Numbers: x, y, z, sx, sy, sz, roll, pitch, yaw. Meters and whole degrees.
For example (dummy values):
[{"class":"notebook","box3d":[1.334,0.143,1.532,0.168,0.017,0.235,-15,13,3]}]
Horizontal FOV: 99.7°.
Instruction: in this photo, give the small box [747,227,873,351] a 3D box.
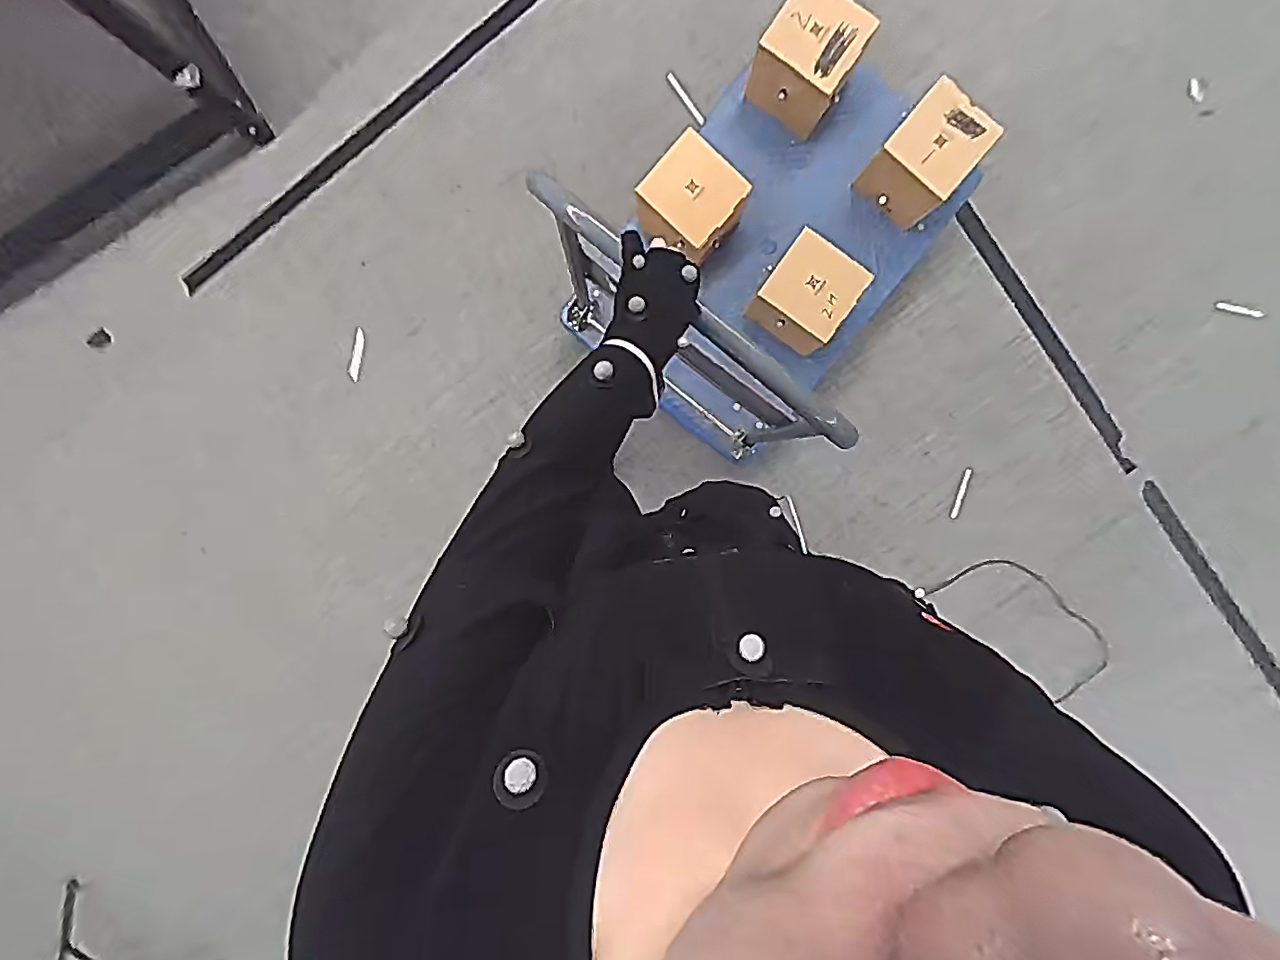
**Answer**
[{"class":"small box","box3d":[0.353,-0.399,1.166,0.179,0.176,0.168,36,94,-2]}]

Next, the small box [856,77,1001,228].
[{"class":"small box","box3d":[0.595,-0.677,1.141,0.168,0.176,0.179,40,95,-3]}]

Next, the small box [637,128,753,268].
[{"class":"small box","box3d":[0.108,-0.587,1.154,0.179,0.176,0.168,42,94,-4]}]
